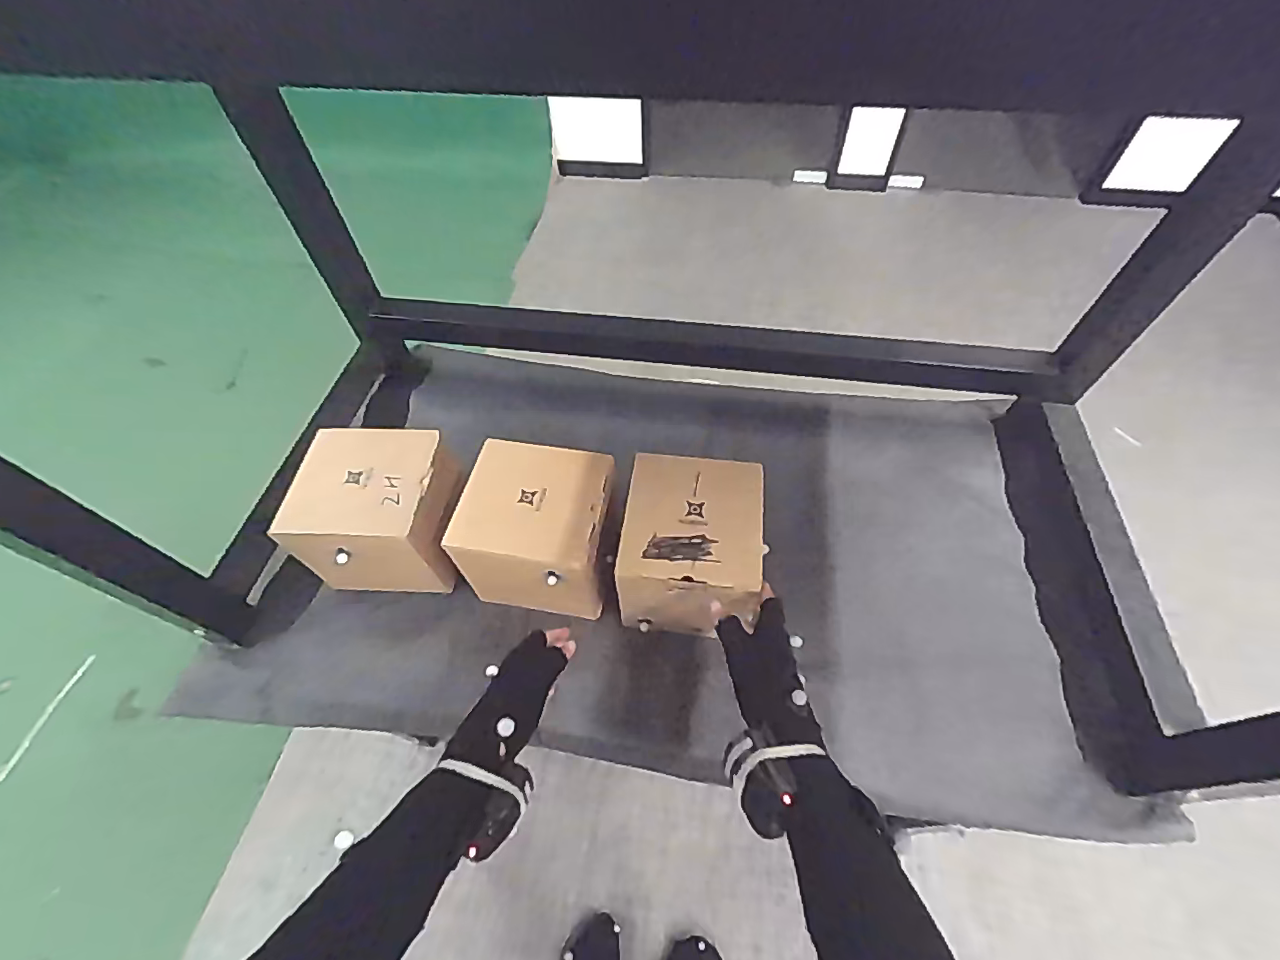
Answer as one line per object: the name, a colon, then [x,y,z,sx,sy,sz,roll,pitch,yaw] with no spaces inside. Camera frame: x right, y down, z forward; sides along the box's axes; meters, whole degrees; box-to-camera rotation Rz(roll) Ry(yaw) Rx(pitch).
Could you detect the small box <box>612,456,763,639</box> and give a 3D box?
small box: [0.064,0.093,0.707,0.168,0.176,0.179,6,55,6]
